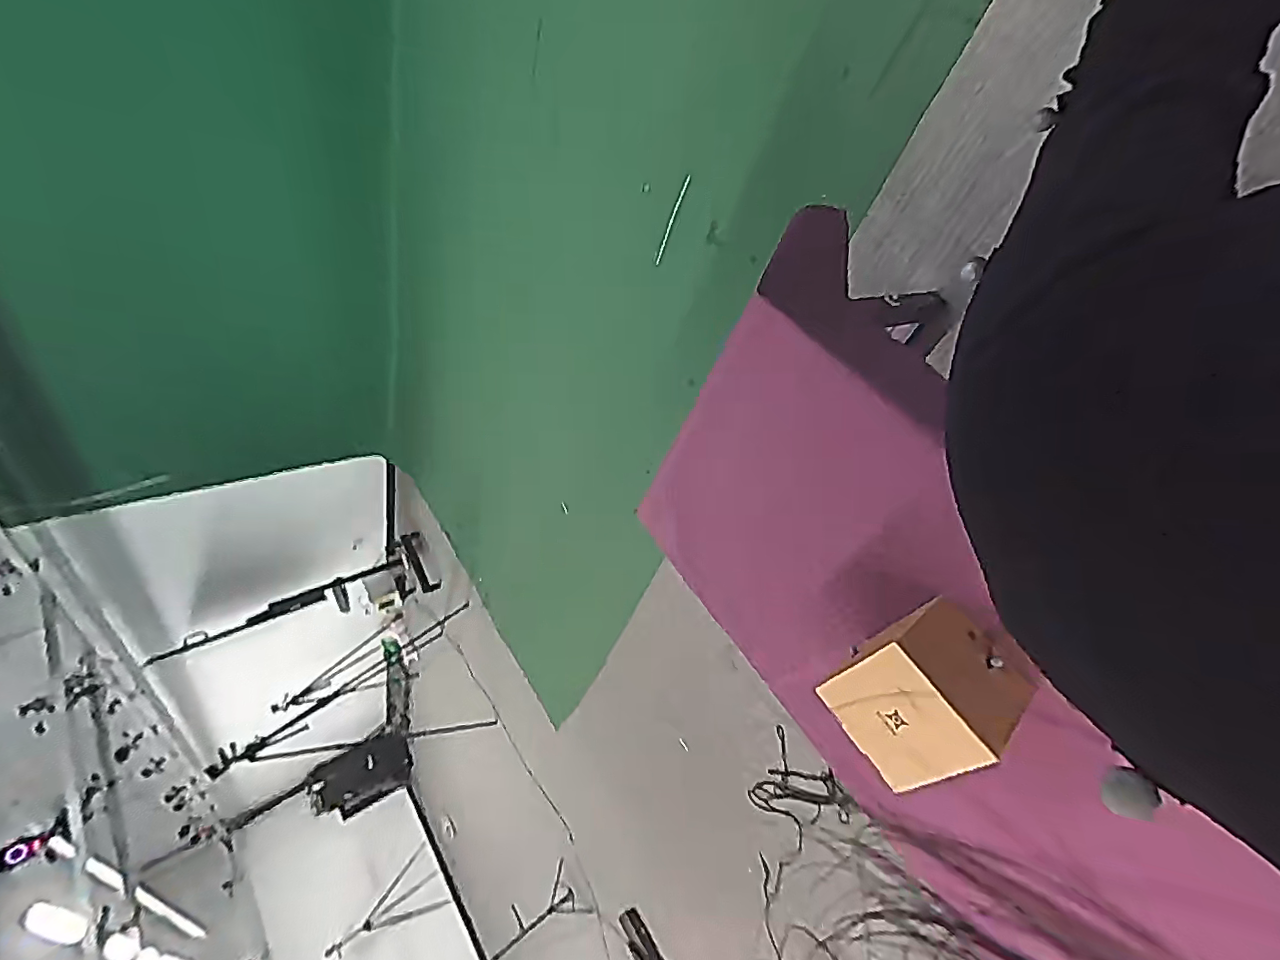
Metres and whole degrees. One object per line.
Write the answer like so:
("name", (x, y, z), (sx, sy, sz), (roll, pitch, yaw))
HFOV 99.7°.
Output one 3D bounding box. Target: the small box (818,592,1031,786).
("small box", (0.398, 0.288, 0.760), (0.168, 0.176, 0.179), (53, 138, 21))
